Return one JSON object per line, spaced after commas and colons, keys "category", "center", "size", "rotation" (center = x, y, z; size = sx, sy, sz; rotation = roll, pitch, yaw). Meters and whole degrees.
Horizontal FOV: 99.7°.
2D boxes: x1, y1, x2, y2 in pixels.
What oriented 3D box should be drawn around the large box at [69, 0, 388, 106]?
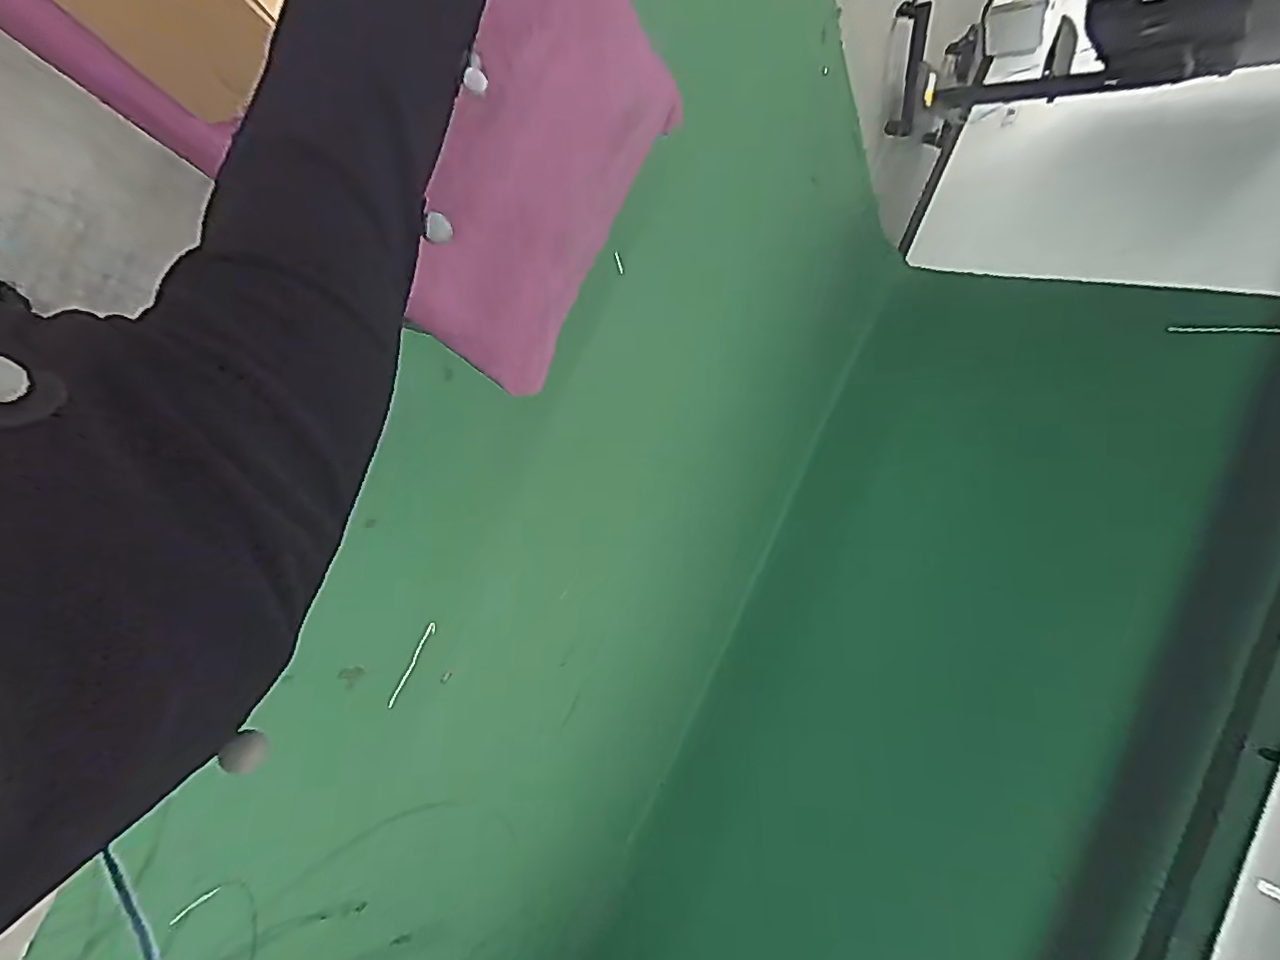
{"category": "large box", "center": [-0.320, -0.564, 0.382], "size": [0.408, 0.320, 0.320], "rotation": [-62, 144, -8]}
